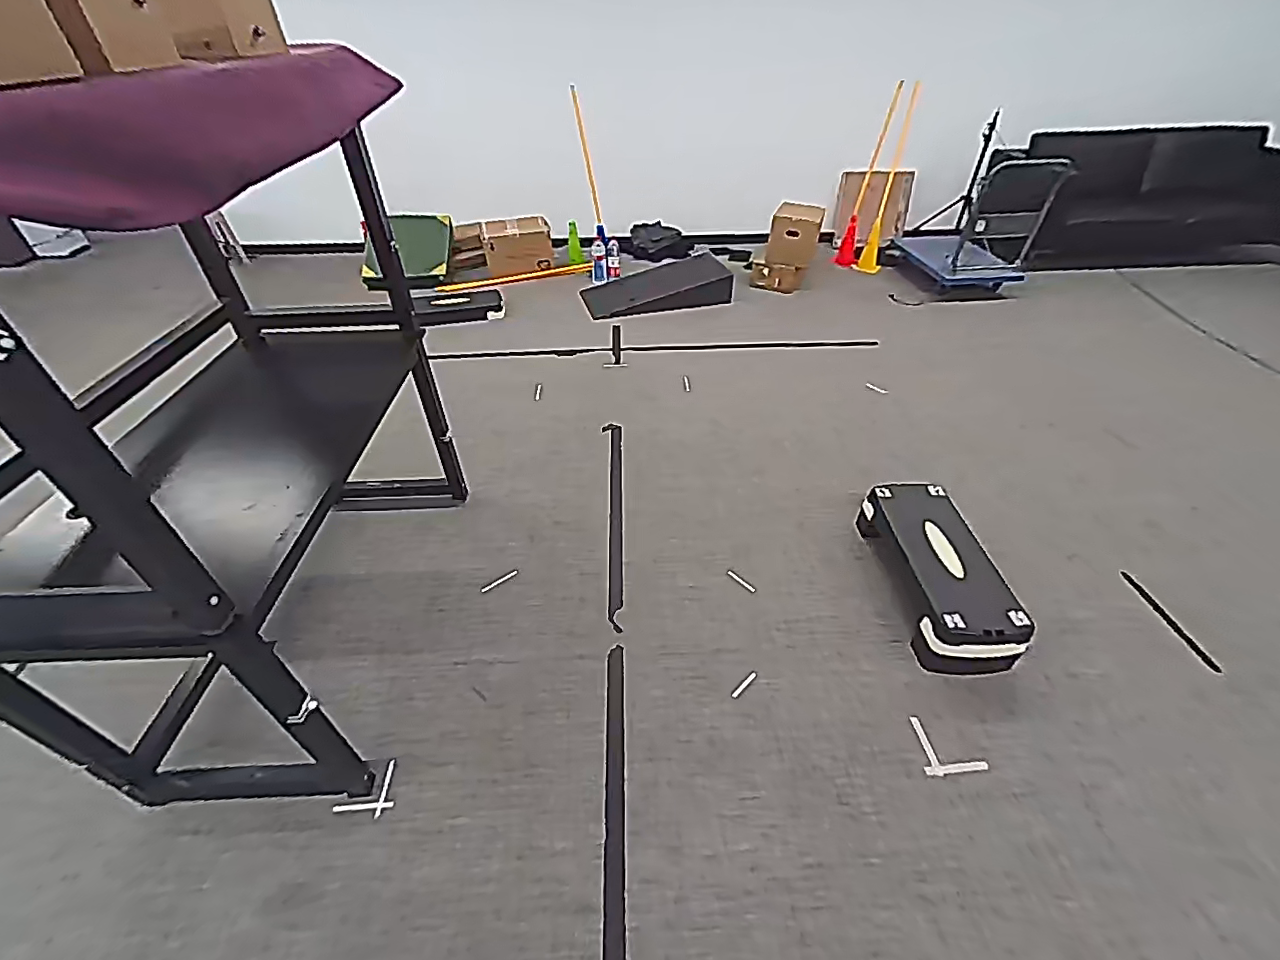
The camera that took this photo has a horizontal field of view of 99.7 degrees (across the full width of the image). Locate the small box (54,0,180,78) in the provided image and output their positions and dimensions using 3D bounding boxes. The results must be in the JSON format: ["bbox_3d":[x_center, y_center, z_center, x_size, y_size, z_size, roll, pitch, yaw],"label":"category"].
[{"bbox_3d":[-0.883,-0.742,0.849,0.168,0.176,0.179,-2,40,0],"label":"small box"}]

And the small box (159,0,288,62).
[{"bbox_3d":[-0.886,-0.993,1.139,0.168,0.176,0.179,4,41,7],"label":"small box"}]
